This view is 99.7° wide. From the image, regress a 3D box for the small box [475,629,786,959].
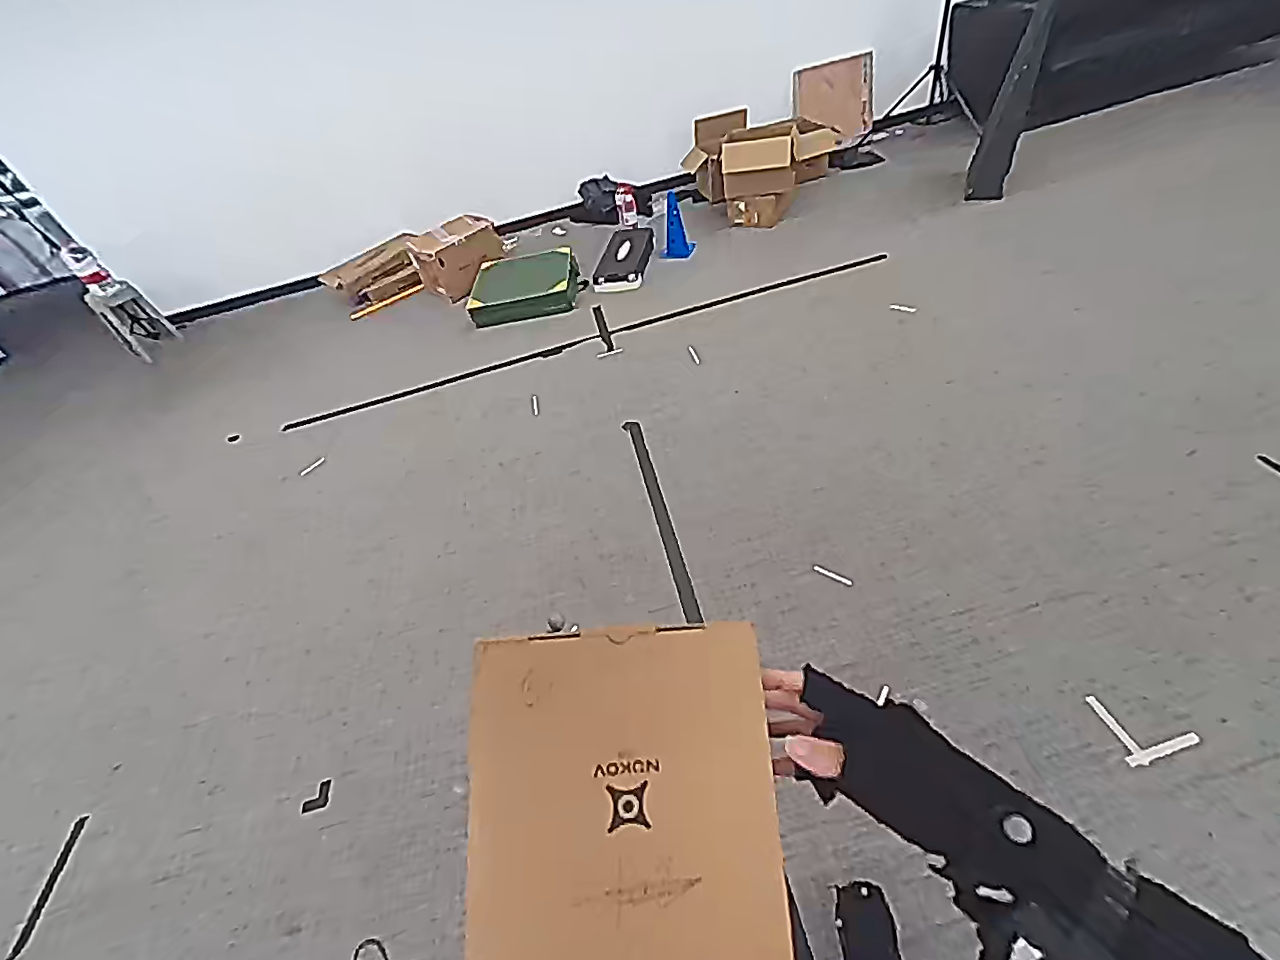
[{"bbox_3d":[-0.017,0.203,0.378,0.168,0.176,0.179,-2,73,-8],"label":"small box"}]
